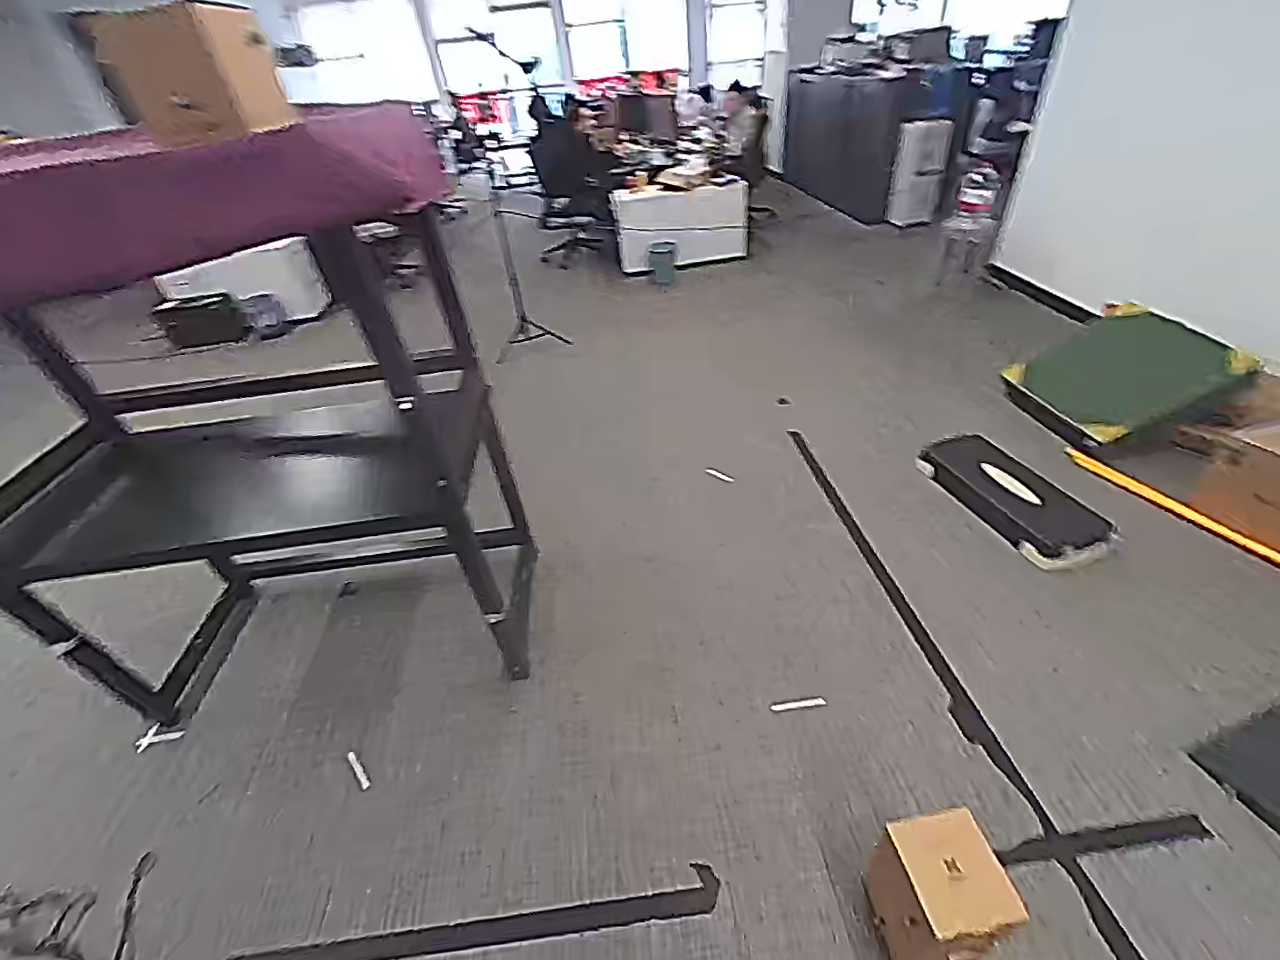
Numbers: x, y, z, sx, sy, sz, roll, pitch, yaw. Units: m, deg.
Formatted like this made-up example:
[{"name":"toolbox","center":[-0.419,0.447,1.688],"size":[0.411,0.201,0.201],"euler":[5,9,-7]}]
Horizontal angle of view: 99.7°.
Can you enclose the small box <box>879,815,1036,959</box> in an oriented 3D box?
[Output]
[{"name":"small box","center":[0.565,0.752,0.990],"size":[0.168,0.176,0.179],"euler":[-9,38,-2]}]

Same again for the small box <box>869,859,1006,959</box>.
[{"name":"small box","center":[0.586,0.879,1.091],"size":[0.168,0.176,0.179],"euler":[-8,40,-1]}]

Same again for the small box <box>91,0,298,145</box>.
[{"name":"small box","center":[-0.706,-0.663,0.890],"size":[0.168,0.176,0.179],"euler":[-6,38,3]}]
